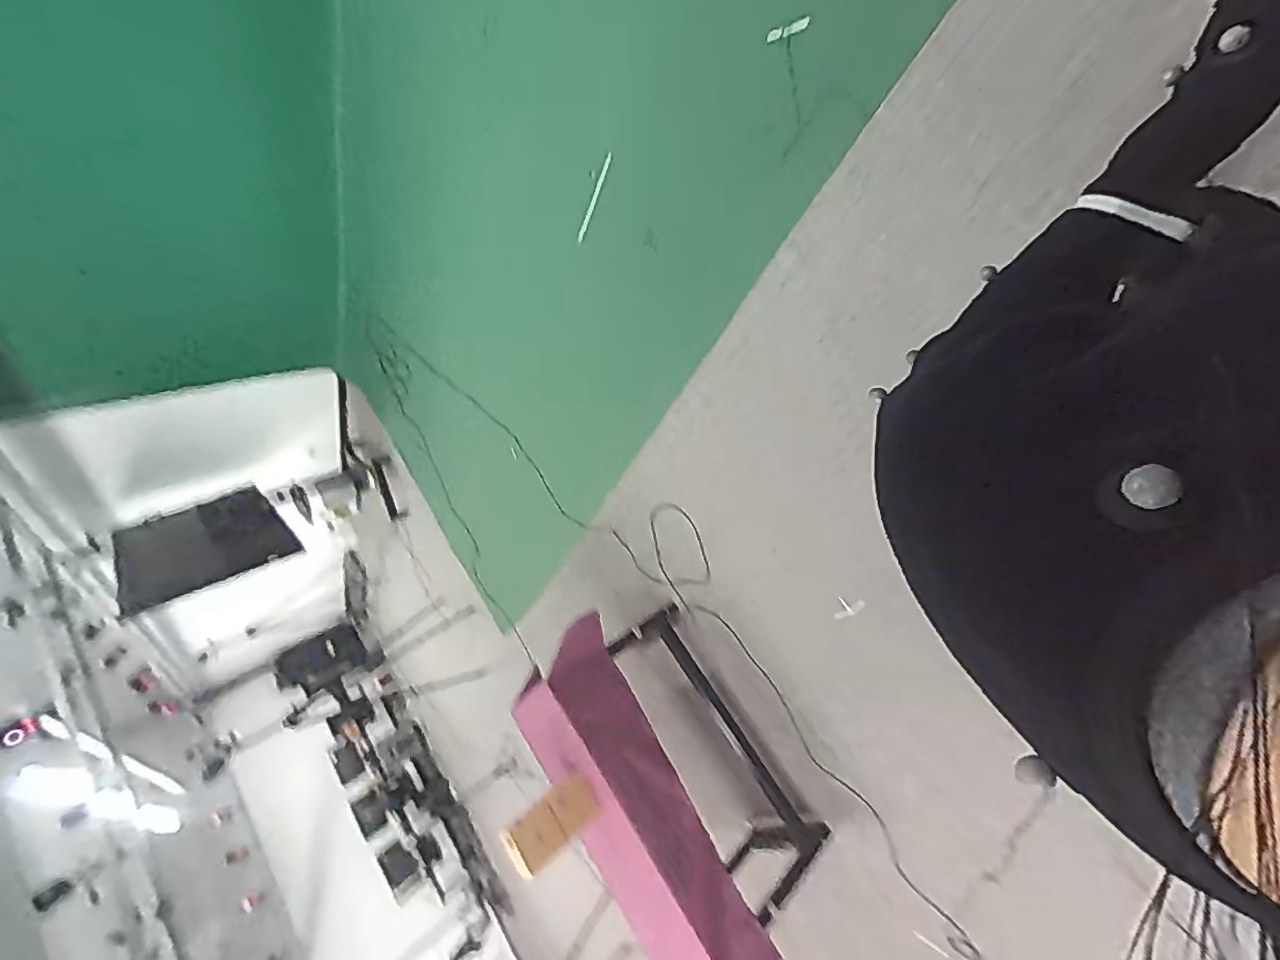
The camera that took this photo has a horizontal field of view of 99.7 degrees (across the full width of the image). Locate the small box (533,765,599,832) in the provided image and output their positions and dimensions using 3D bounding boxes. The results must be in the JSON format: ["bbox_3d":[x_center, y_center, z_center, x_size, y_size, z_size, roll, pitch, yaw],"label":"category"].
[{"bbox_3d":[-0.295,1.261,2.151,0.179,0.176,0.168,56,141,13],"label":"small box"}]
